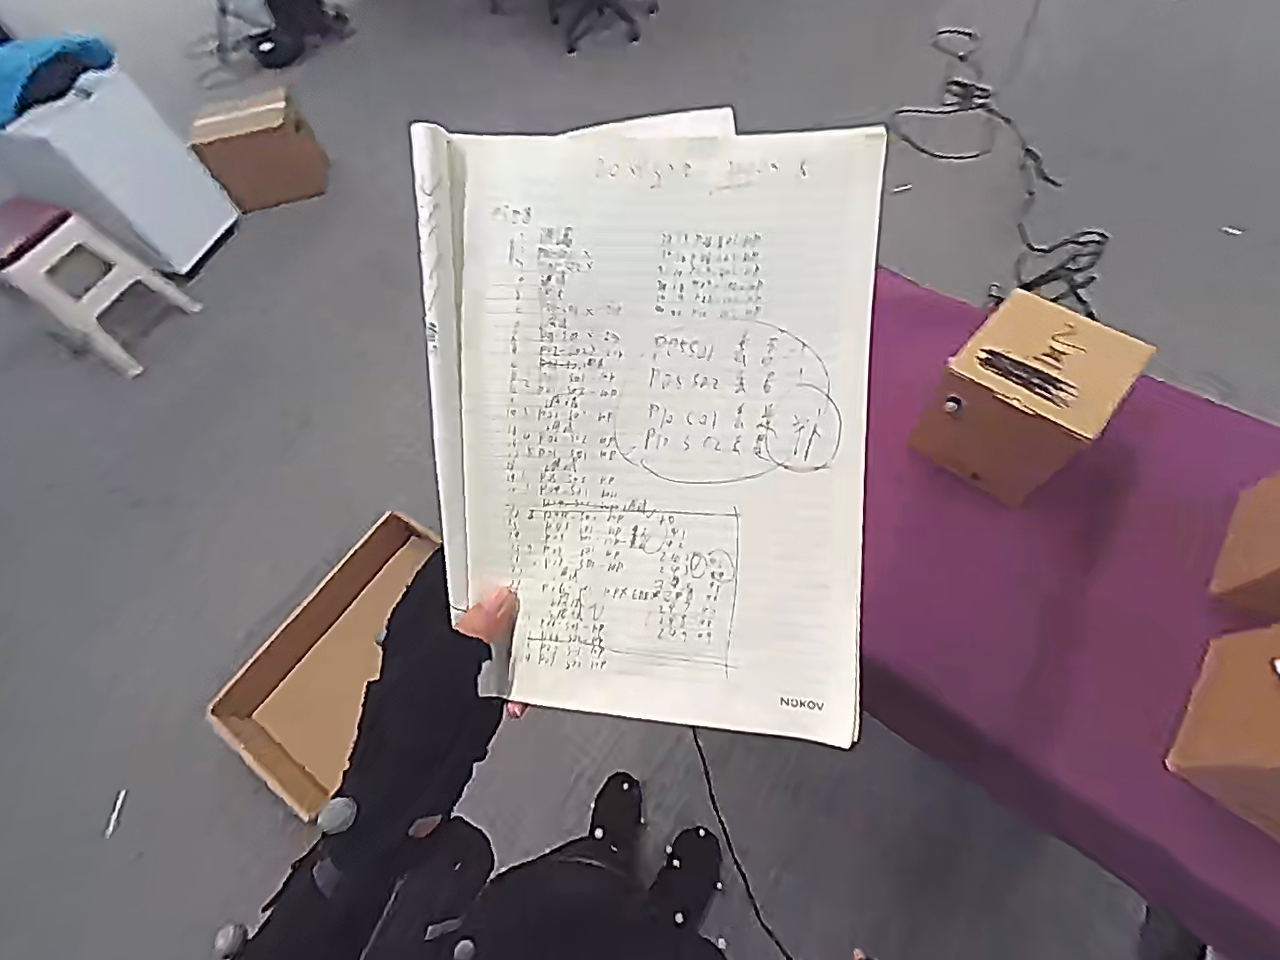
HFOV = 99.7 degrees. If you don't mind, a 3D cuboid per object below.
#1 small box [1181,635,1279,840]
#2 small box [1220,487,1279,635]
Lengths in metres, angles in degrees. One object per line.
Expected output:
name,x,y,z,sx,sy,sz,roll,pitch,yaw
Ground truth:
small box,0.664,0.256,0.492,0.168,0.176,0.179,36,71,23
small box,0.788,0.086,0.570,0.168,0.176,0.179,34,70,21
